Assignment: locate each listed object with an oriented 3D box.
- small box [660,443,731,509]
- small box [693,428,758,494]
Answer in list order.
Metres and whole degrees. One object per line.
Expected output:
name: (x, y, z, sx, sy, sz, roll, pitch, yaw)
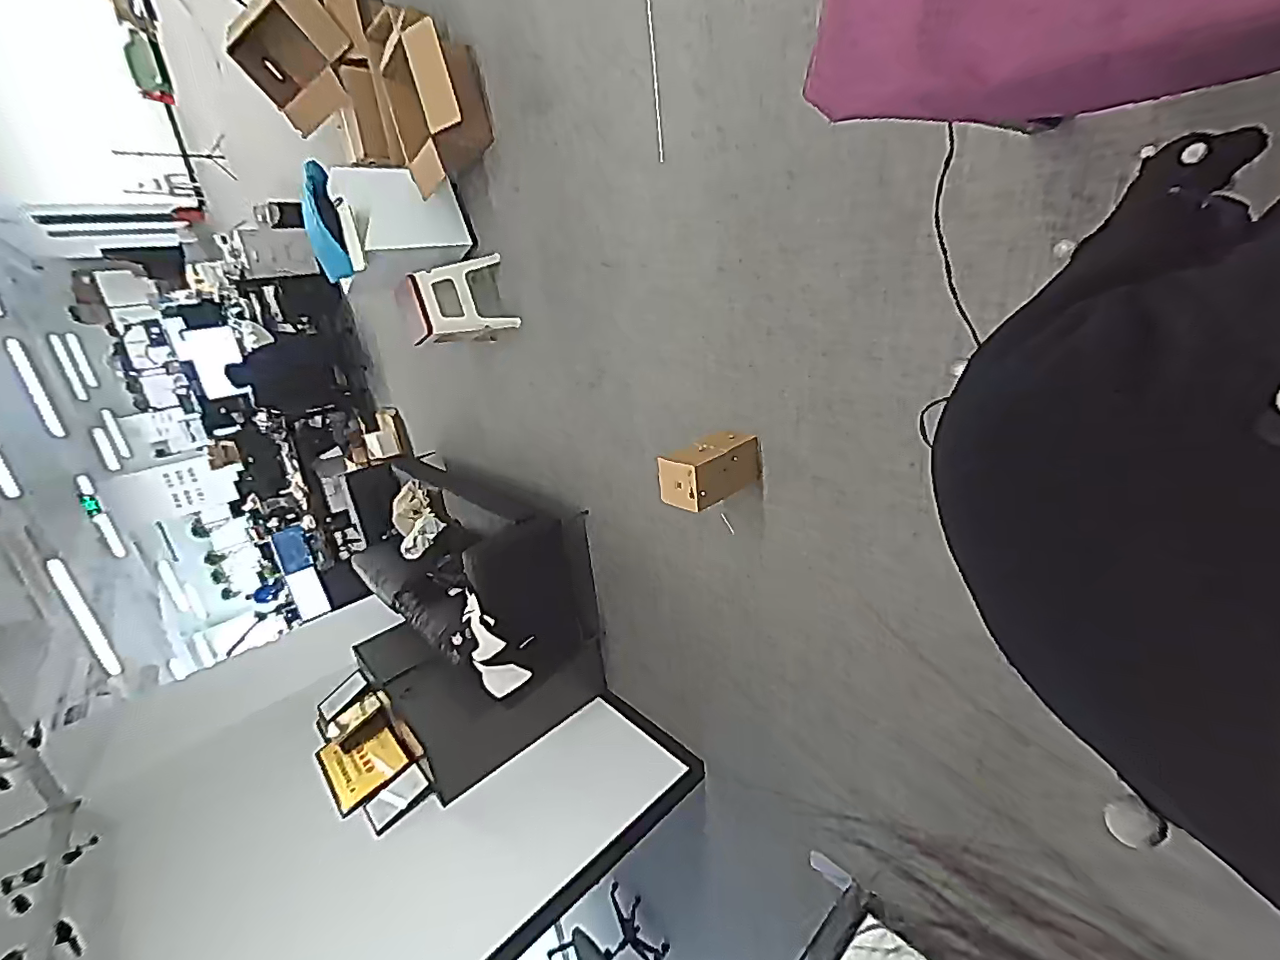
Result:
small box: (0.190, -0.021, 1.850, 0.179, 0.176, 0.168, 18, 122, 47)
small box: (0.311, -0.072, 1.949, 0.168, 0.176, 0.179, 17, 121, 45)
